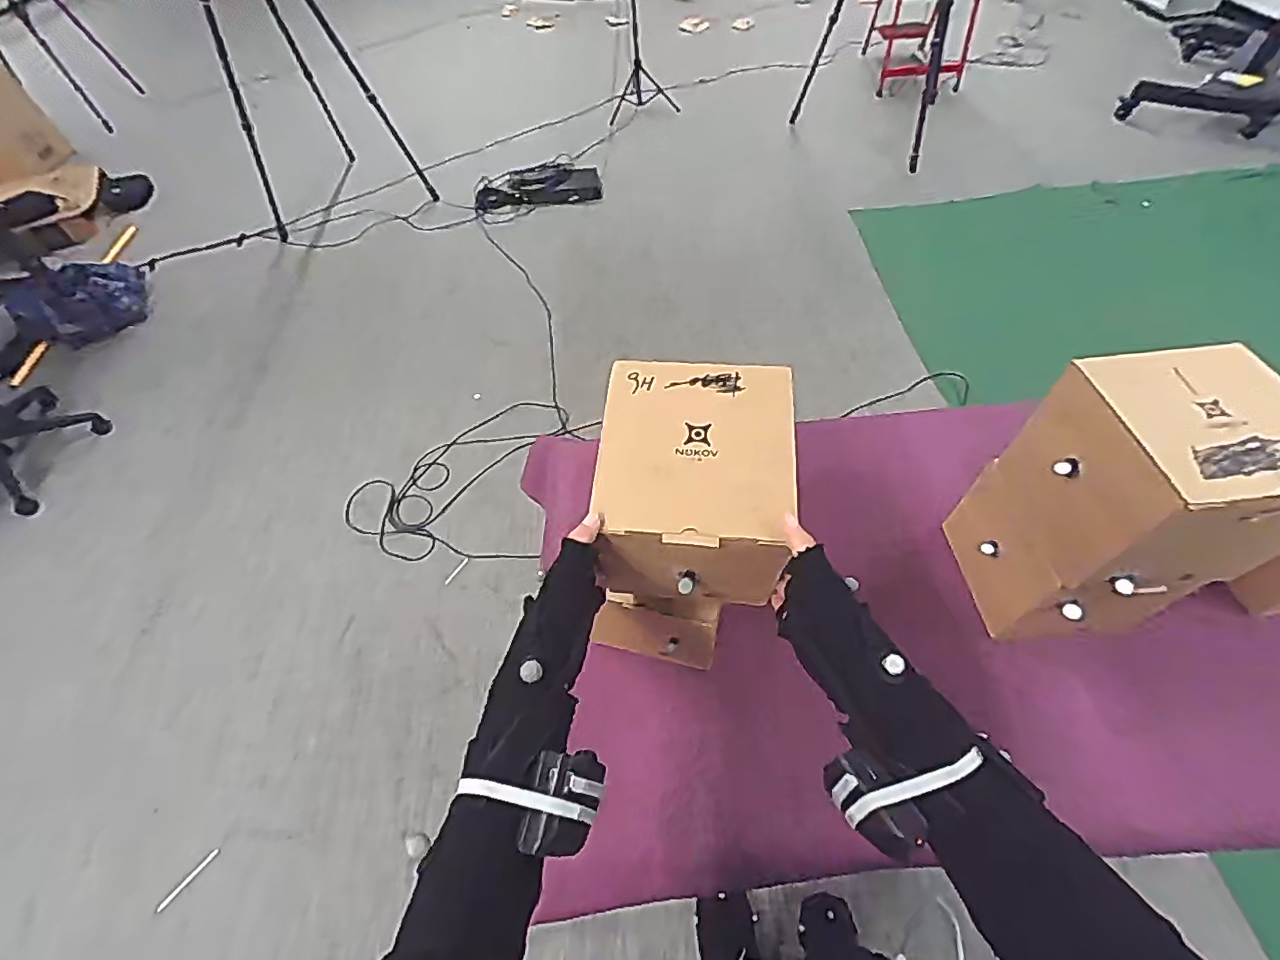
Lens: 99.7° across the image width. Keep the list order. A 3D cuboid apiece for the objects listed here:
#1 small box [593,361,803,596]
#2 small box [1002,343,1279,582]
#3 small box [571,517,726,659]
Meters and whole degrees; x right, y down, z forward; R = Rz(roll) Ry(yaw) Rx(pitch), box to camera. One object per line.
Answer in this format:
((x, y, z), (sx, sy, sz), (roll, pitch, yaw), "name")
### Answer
((0.056, 0.007, 0.524), (0.168, 0.176, 0.179), (1, 62, 5), "small box")
((0.513, -0.008, 0.541), (0.168, 0.176, 0.179), (-6, 53, 1), "small box")
((0.029, 0.107, 0.684), (0.168, 0.176, 0.179), (11, 57, 11), "small box")
